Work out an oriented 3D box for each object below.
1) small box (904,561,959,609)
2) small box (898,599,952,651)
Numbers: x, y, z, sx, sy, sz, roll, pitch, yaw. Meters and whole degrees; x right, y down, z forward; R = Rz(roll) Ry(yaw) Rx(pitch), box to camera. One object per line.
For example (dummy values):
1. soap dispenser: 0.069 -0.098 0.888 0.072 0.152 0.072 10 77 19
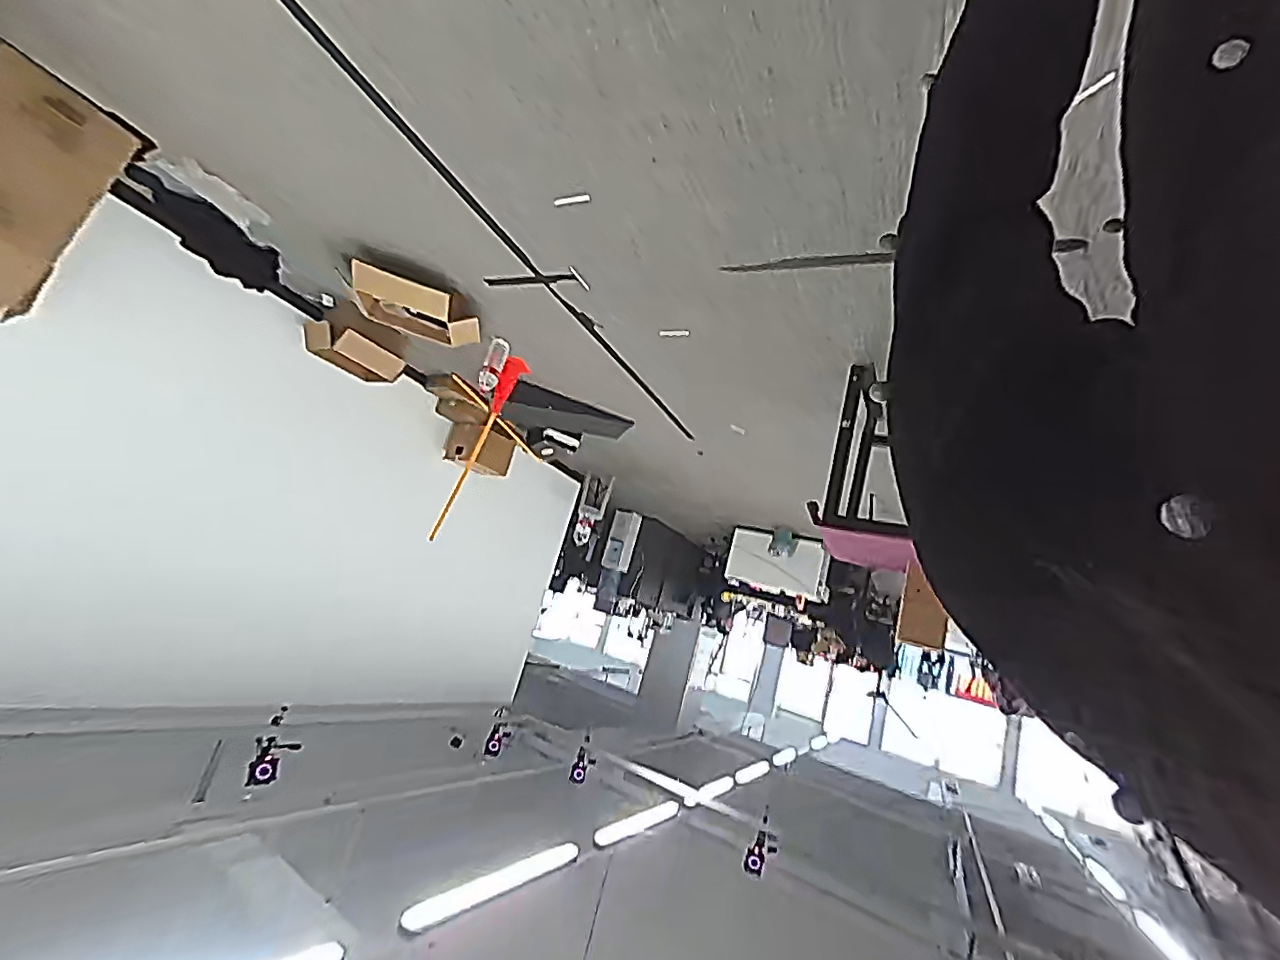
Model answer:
1. small box: 1.230 0.448 2.286 0.179 0.176 0.168 9 165 27
2. small box: 1.187 0.602 2.249 0.179 0.176 0.168 9 164 25
